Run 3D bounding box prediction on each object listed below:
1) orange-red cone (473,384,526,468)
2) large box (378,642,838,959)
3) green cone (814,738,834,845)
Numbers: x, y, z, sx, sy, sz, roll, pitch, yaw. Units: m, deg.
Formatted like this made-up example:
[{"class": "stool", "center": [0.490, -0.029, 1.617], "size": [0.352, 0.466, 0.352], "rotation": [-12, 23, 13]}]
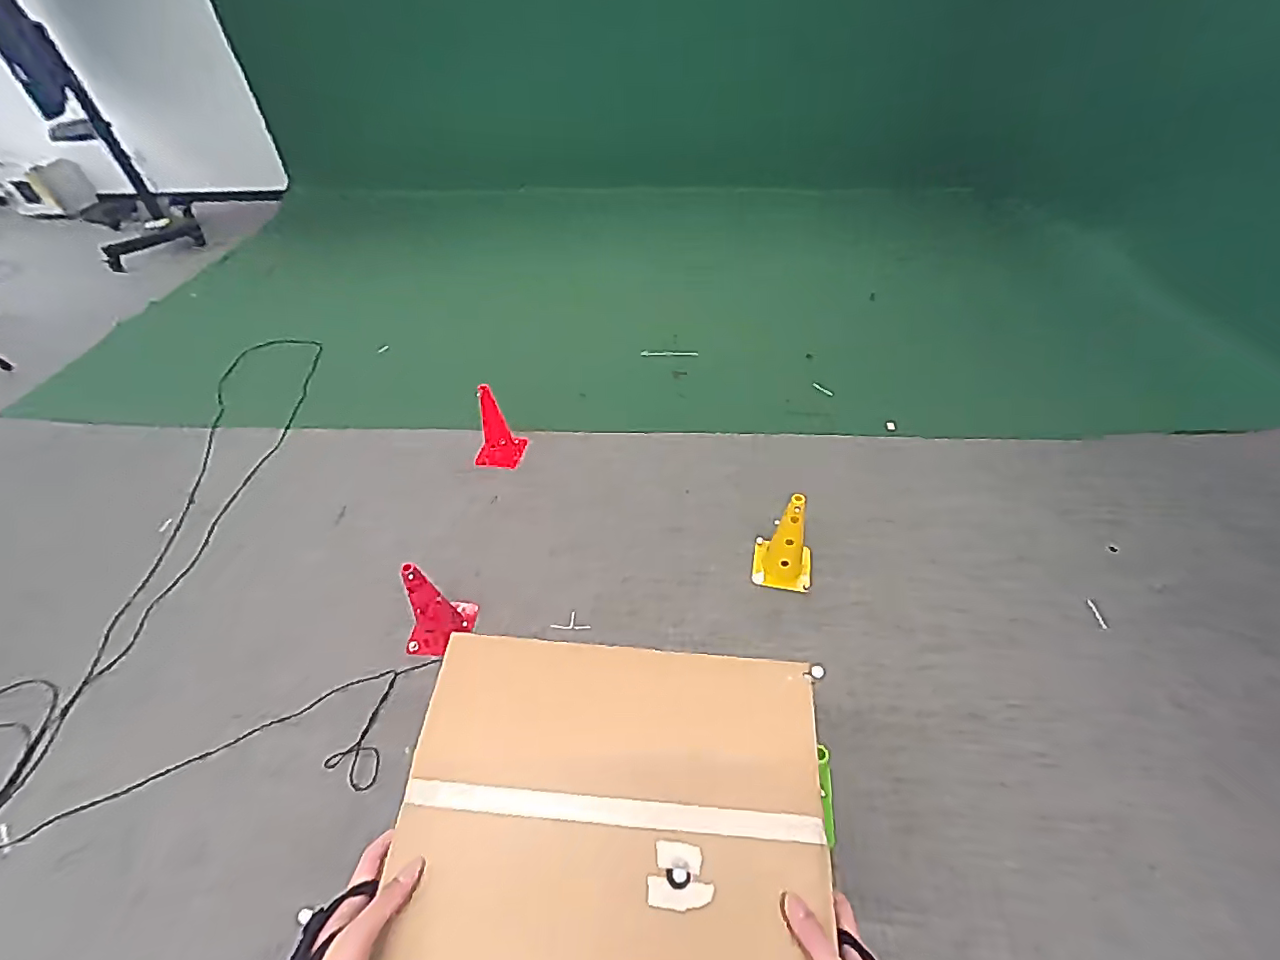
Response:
[{"class": "orange-red cone", "center": [-0.635, -0.248, 2.291], "size": [0.199, 0.360, 0.198], "rotation": [5, 46, 10]}, {"class": "large box", "center": [-0.023, 0.406, 0.649], "size": [0.408, 0.320, 0.320], "rotation": [4, 57, 2]}, {"class": "green cone", "center": [0.404, 0.720, 1.315], "size": [0.200, 0.368, 0.202], "rotation": [5, 45, 7]}]
